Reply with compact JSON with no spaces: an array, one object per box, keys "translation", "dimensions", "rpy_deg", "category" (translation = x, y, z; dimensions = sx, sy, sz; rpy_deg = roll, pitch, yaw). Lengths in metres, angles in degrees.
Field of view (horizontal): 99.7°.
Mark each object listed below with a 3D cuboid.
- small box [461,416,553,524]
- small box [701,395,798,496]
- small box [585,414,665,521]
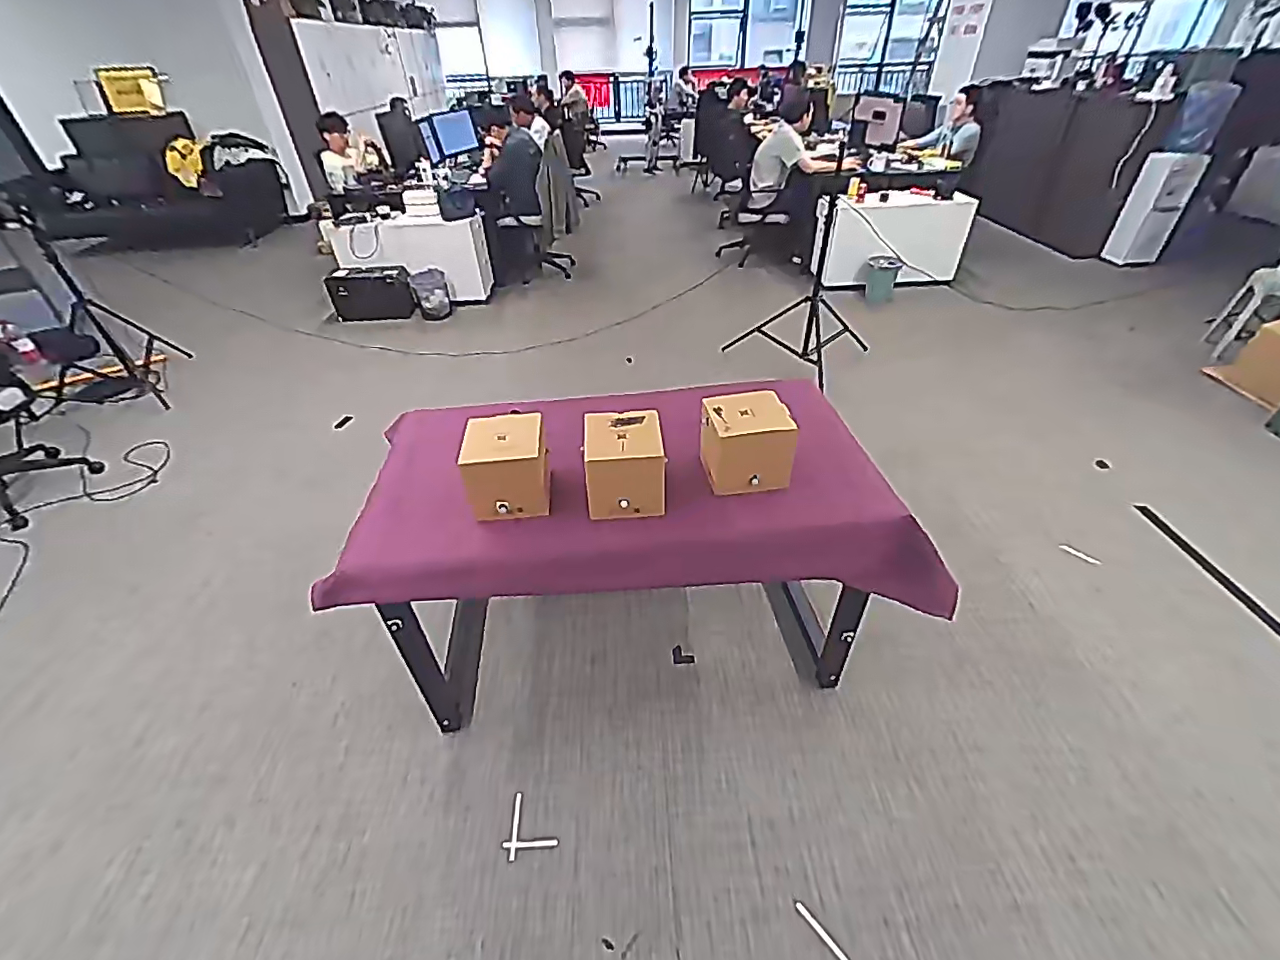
[{"translation":[-0.292,-0.023,1.221],"dimensions":[0.168,0.176,0.179],"rpy_deg":[-6,39,-4],"category":"small box"},{"translation":[0.246,-0.081,1.264],"dimensions":[0.179,0.176,0.168],"rpy_deg":[-6,38,-5],"category":"small box"},{"translation":[-0.034,-0.029,1.212],"dimensions":[0.168,0.176,0.179],"rpy_deg":[-4,39,-2],"category":"small box"}]
